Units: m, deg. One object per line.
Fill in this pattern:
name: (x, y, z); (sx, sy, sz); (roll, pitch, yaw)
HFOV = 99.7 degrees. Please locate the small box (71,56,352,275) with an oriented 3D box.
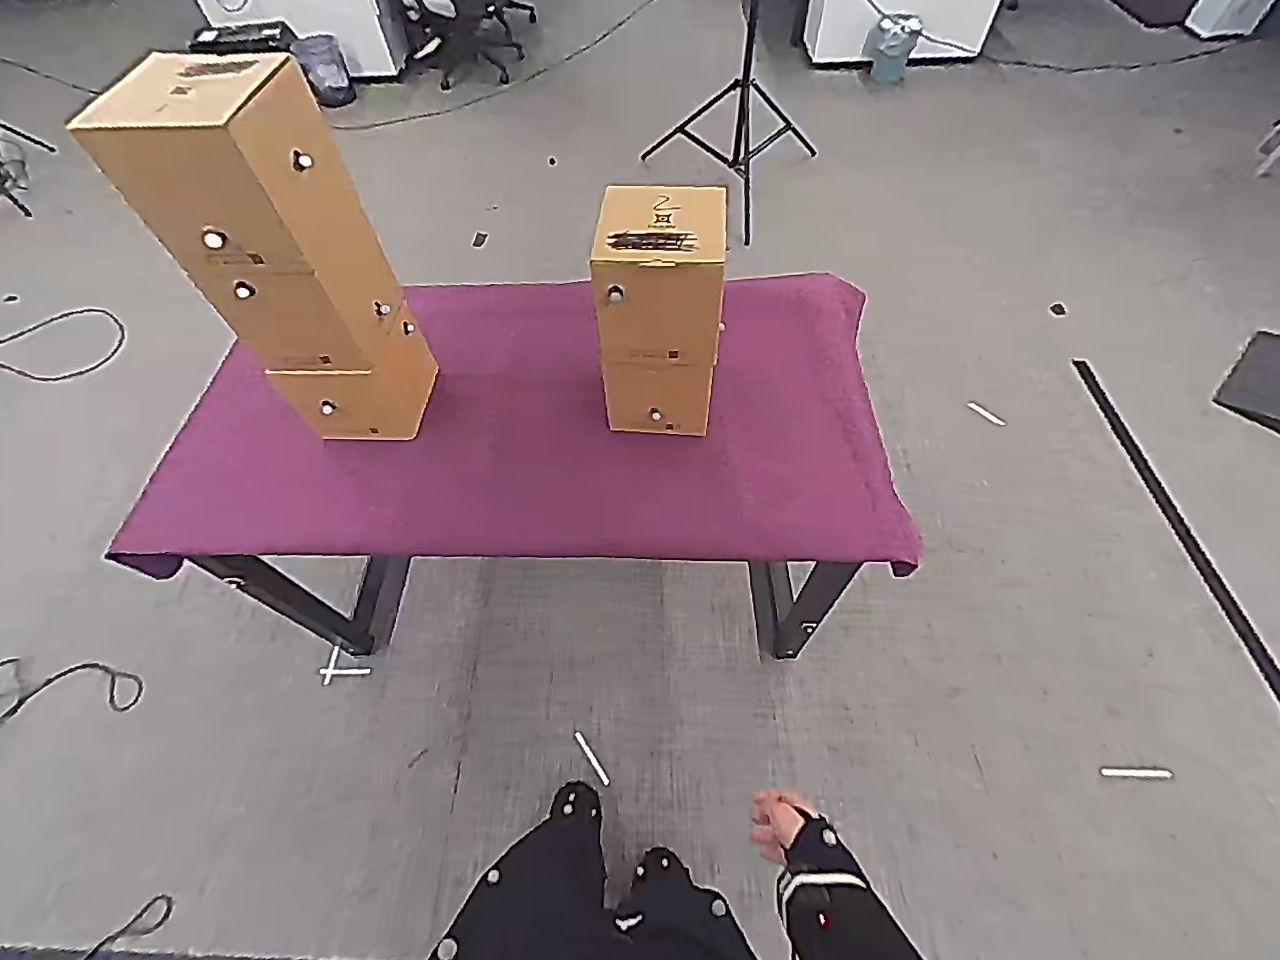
small box: (-0.475, -0.369, 0.640); (0.168, 0.176, 0.179); (1, 57, 3)

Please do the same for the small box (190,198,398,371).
small box: (-0.474, -0.280, 0.779); (0.168, 0.176, 0.179); (0, 56, 2)

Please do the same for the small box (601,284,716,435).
small box: (0.034, -0.199, 0.901); (0.168, 0.176, 0.179); (4, 57, 6)

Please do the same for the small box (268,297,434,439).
small box: (-0.469, -0.184, 0.912); (0.168, 0.176, 0.179); (1, 56, 3)
